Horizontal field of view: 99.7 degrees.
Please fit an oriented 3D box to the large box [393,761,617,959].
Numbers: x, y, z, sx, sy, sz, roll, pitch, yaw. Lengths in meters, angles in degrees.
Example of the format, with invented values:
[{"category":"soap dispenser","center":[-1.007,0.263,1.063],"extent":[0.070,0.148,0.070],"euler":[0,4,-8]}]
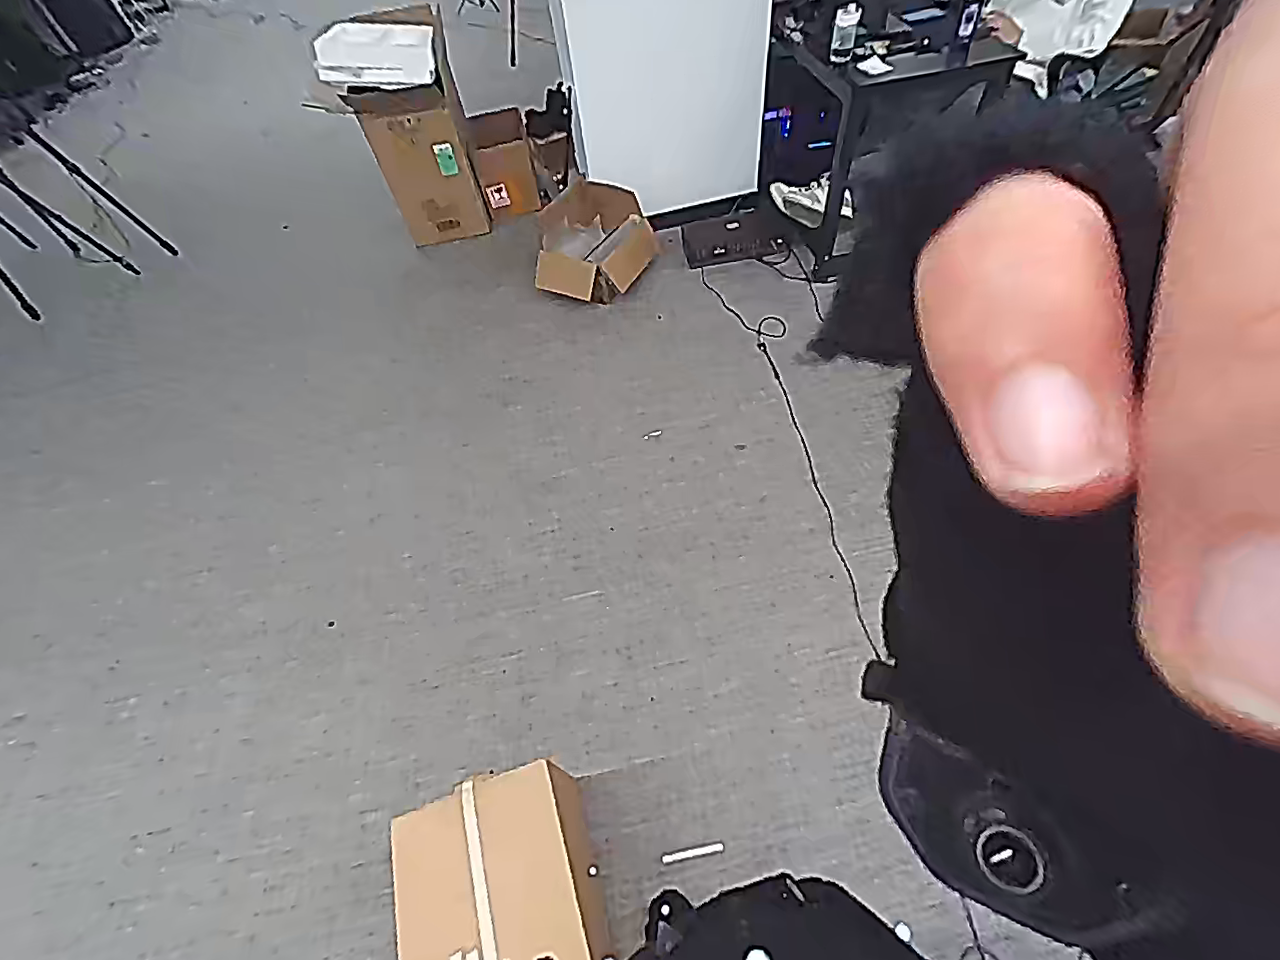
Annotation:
[{"category":"large box","center":[-0.256,0.846,1.080],"extent":[0.320,0.320,0.408],"euler":[-20,55,-6]}]
